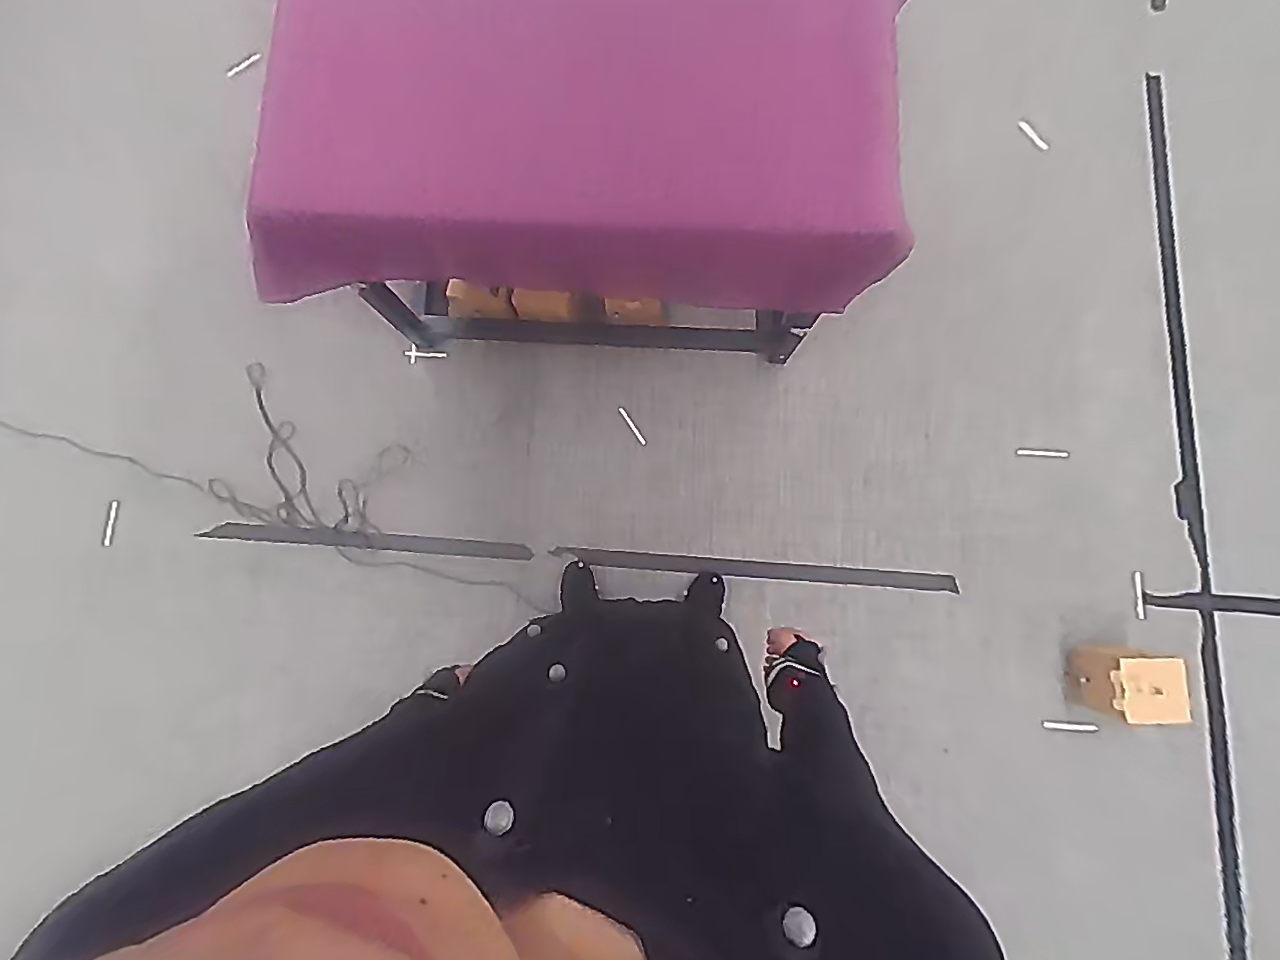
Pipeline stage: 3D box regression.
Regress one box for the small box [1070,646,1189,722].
[{"bbox_3d":[1.348,0.559,1.498,0.179,0.176,0.168,0,83,2],"label":"small box"}]
